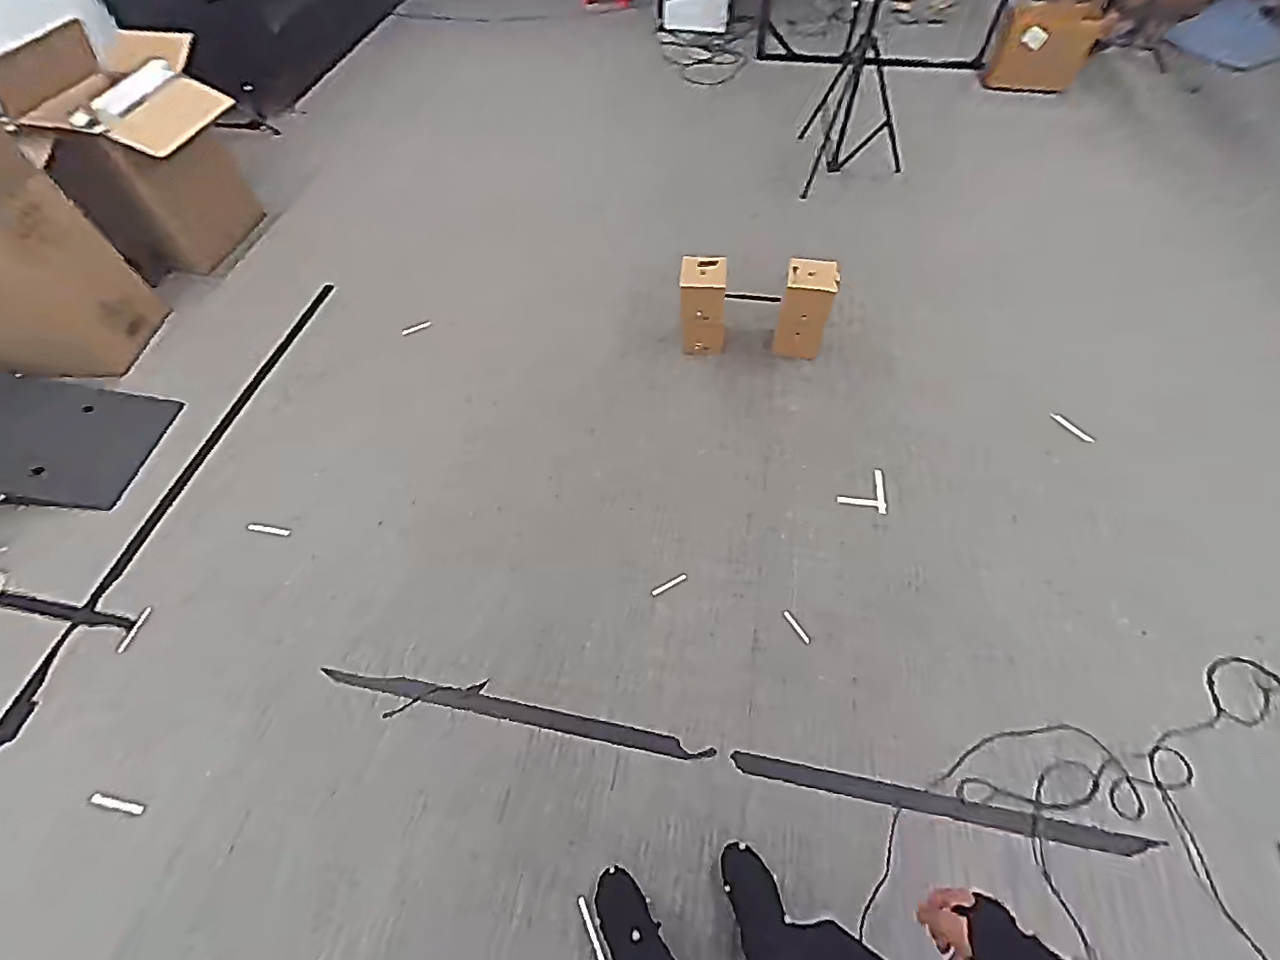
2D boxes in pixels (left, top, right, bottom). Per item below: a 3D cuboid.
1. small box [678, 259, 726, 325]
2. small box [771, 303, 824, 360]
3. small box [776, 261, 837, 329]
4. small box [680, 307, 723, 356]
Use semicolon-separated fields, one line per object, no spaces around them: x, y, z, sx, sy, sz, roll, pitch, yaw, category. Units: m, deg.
0.234;-0.714;2.055;0.168;0.176;0.179;4;58;6;small box
0.627;-0.600;2.160;0.179;0.176;0.168;9;59;7;small box
0.622;-0.689;2.022;0.179;0.176;0.168;10;58;7;small box
0.248;-0.630;2.195;0.168;0.176;0.179;2;58;4;small box
